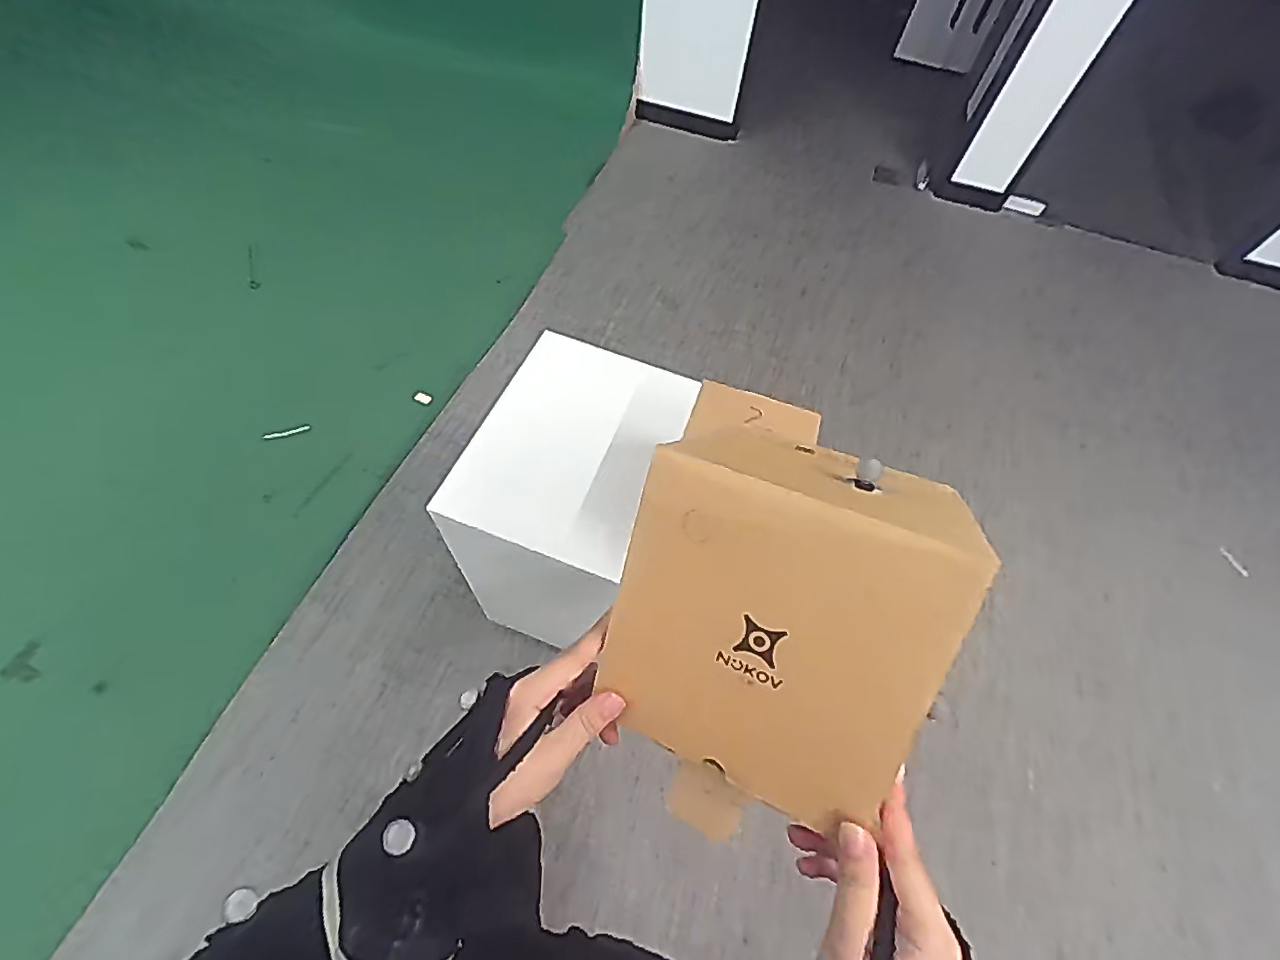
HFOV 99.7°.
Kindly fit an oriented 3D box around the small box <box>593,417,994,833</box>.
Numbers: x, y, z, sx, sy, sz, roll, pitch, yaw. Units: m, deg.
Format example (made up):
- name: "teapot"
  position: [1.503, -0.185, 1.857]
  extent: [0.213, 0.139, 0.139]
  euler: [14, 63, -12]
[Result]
- name: "small box"
  position: [0.094, 0.065, 0.355]
  extent: [0.168, 0.179, 0.176]
  euler: [20, 19, 20]
